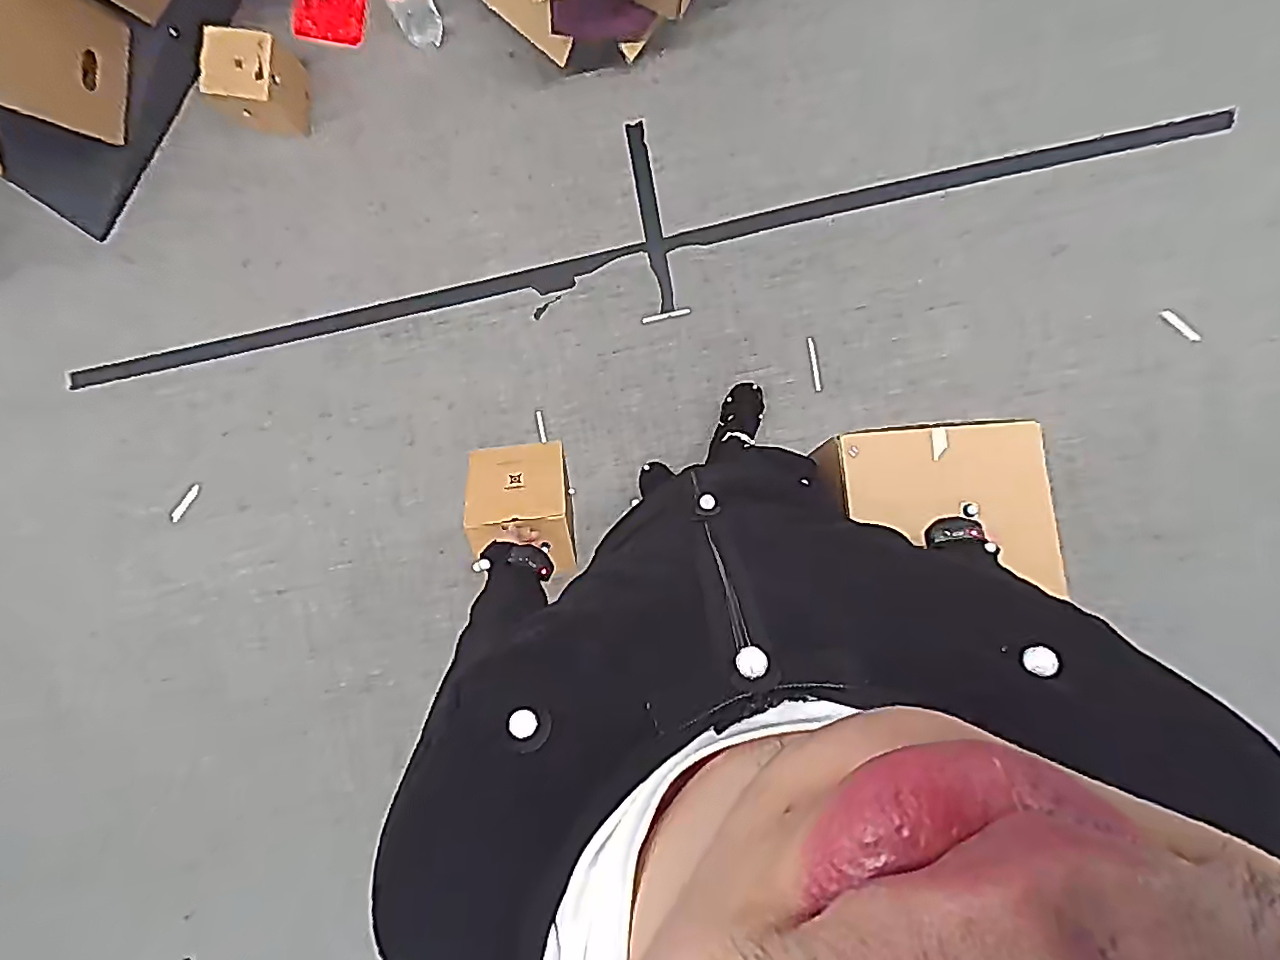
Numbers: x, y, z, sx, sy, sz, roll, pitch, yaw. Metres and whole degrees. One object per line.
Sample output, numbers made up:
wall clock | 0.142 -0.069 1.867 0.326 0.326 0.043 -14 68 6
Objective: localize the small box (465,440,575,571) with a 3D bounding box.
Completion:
small box | -0.212 0.053 0.989 0.168 0.179 0.176 -6 139 -6
